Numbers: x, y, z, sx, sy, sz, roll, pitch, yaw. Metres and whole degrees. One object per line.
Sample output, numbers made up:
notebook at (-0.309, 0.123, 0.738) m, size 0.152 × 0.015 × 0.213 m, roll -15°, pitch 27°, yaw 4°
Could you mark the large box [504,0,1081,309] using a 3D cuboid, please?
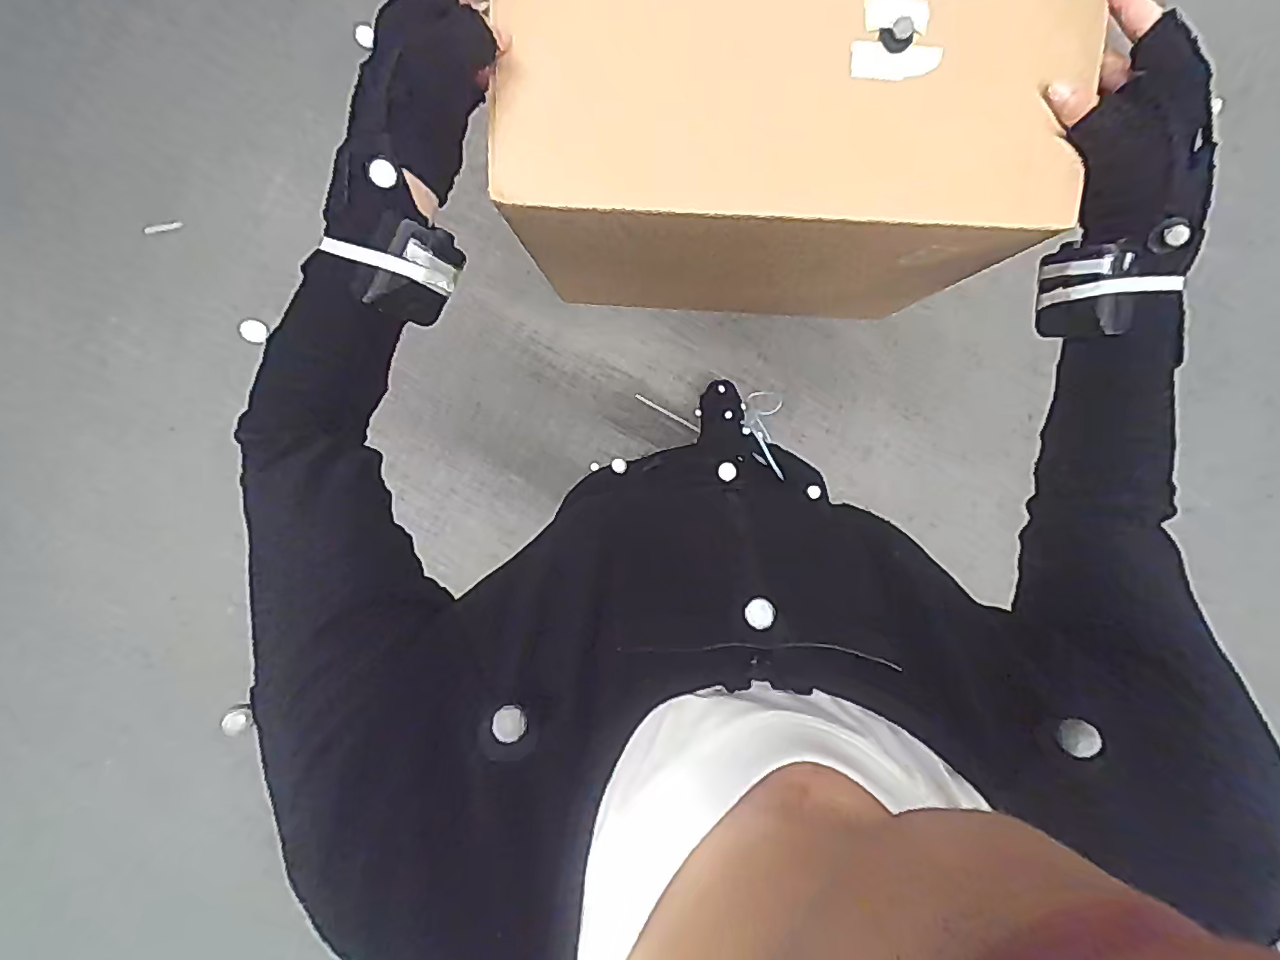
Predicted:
large box at (0.103, -0.357, 0.519) m, size 0.408 × 0.320 × 0.320 m, roll 2°, pitch 96°, yaw 0°
